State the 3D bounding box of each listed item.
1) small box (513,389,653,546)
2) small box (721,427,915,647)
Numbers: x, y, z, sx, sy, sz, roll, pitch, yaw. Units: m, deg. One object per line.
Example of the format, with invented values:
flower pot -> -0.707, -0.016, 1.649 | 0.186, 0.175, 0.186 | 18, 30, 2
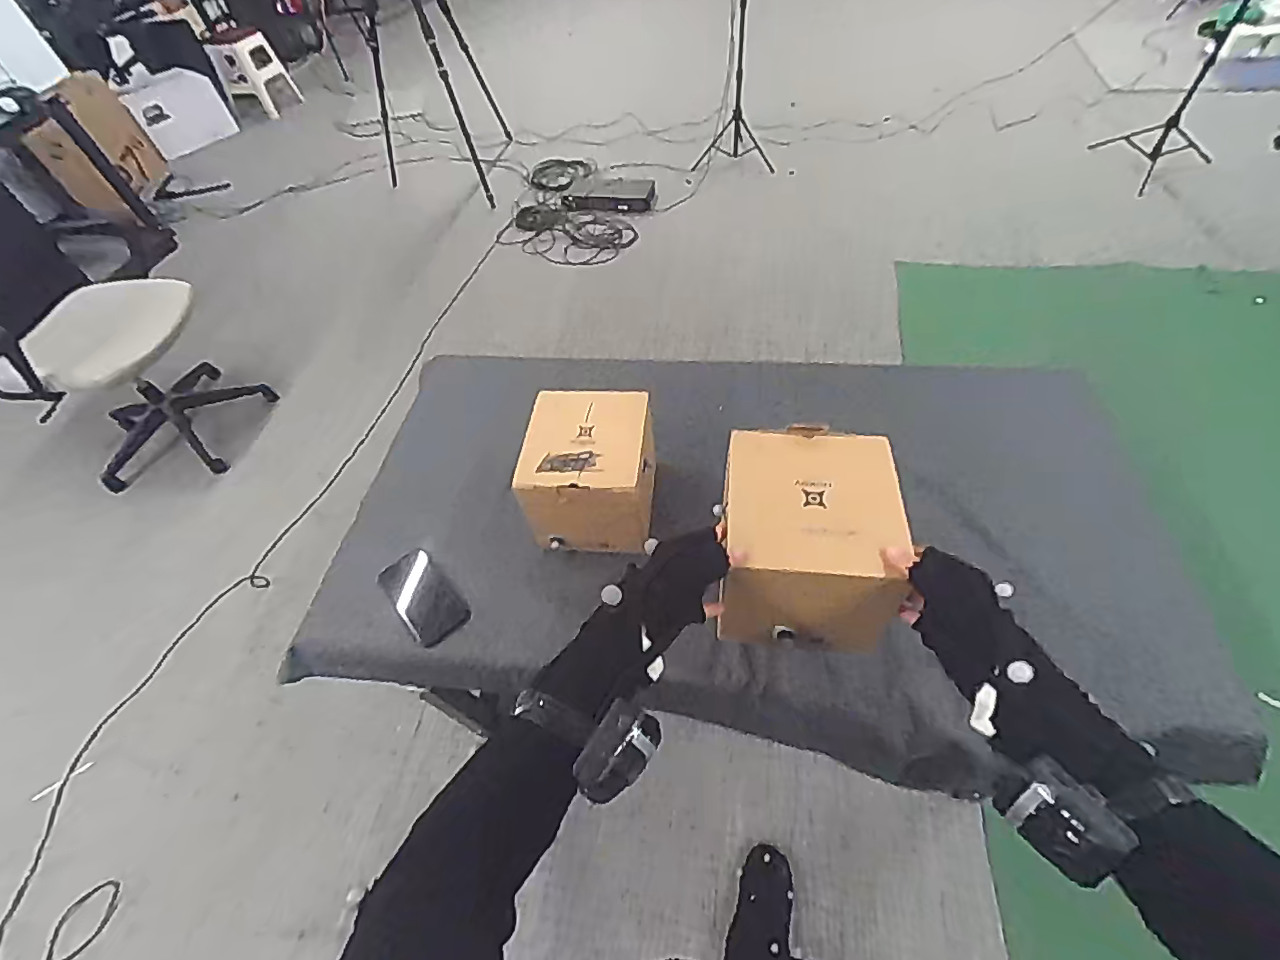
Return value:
small box -> -0.071, -0.015, 0.807 | 0.168, 0.176, 0.179 | 2, 53, 7
small box -> 0.177, 0.063, 0.597 | 0.168, 0.176, 0.179 | 2, 52, 8
